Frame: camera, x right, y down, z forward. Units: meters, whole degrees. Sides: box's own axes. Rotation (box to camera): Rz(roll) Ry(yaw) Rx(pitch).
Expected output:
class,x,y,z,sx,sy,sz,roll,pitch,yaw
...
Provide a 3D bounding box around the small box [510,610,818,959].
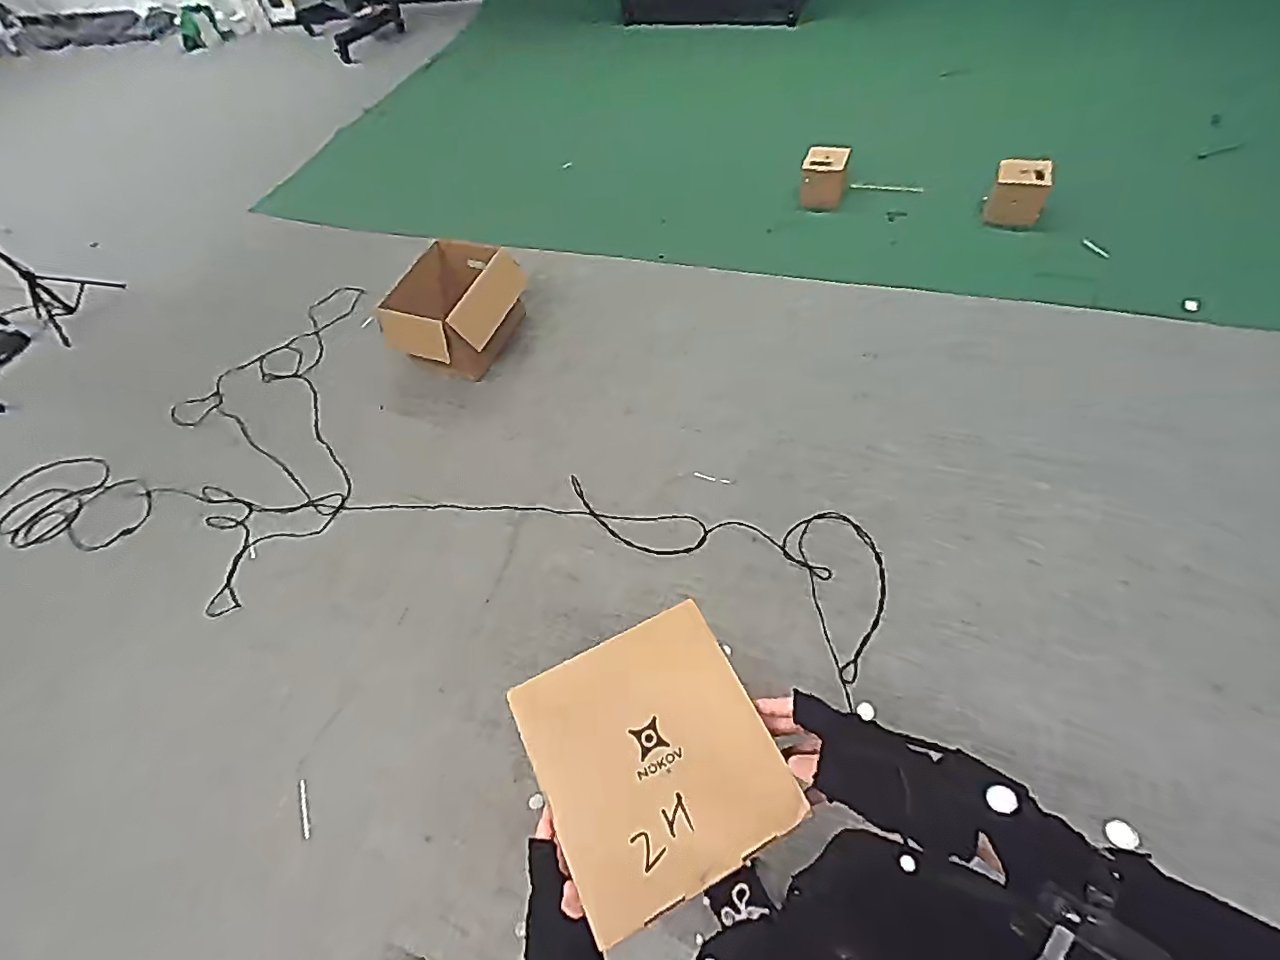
class,x,y,z,sx,sy,sz,roll,pitch,yaw
small box,0.010,0.241,0.451,0.168,0.176,0.179,-24,63,-13

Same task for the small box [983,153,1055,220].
class,x,y,z,sx,sy,sz,roll,pitch,yaw
small box,1.459,-1.128,2.083,0.179,0.176,0.168,15,62,19
